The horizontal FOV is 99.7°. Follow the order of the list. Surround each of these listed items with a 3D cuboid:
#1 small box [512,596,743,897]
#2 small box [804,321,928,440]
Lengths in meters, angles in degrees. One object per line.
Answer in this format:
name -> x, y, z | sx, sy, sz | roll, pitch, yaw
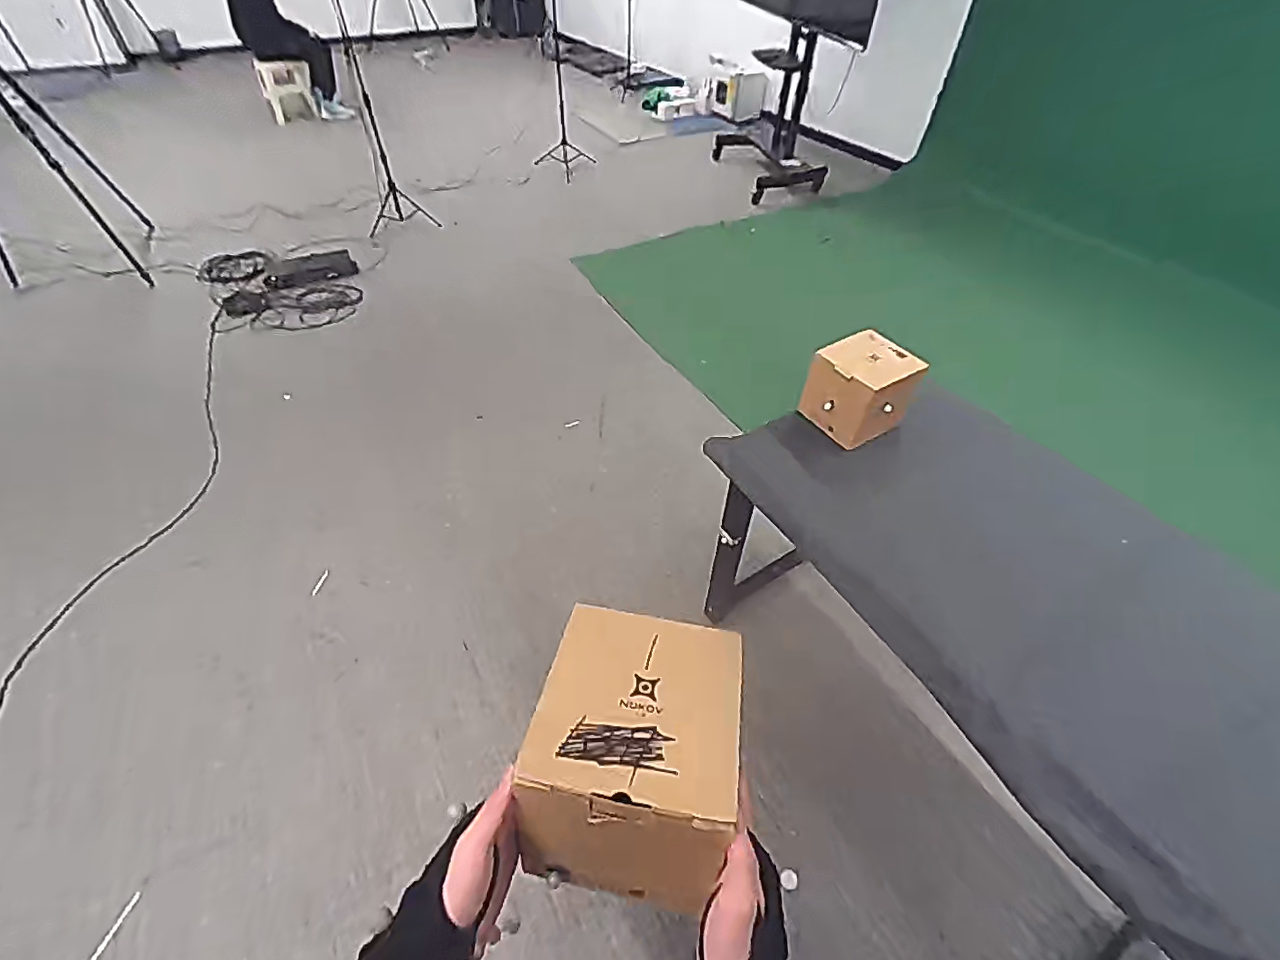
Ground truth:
small box -> -0.003, 0.239, 0.496 | 0.168, 0.176, 0.179 | 9, 34, 6
small box -> 0.487, -0.218, 1.200 | 0.179, 0.176, 0.168 | -26, 55, -21
